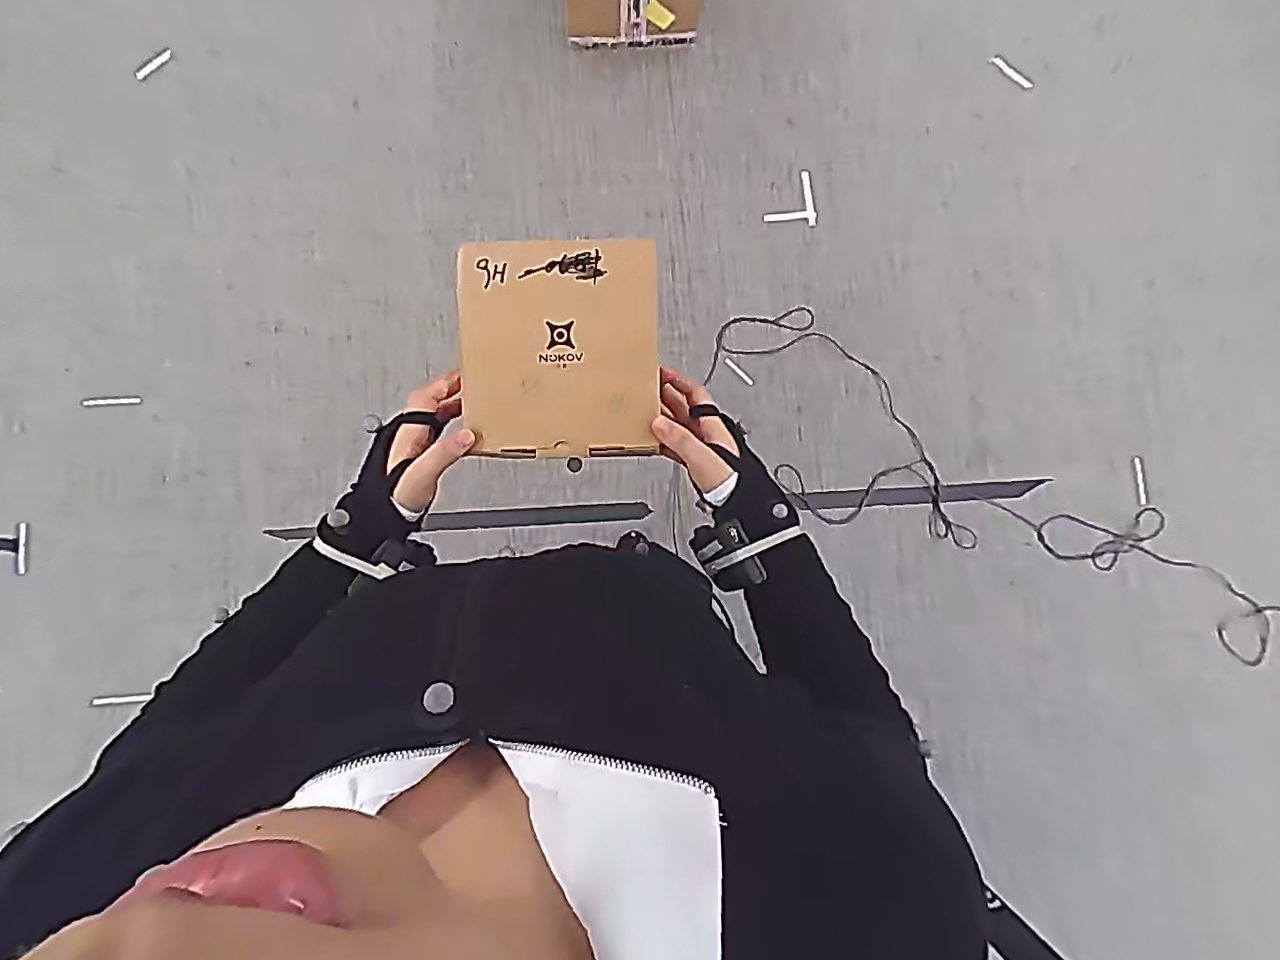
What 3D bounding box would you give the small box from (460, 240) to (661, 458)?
[{"bbox_3d":[-0.064,-0.112,0.525,0.168,0.176,0.179,-2,92,-1],"label":"small box"}]
